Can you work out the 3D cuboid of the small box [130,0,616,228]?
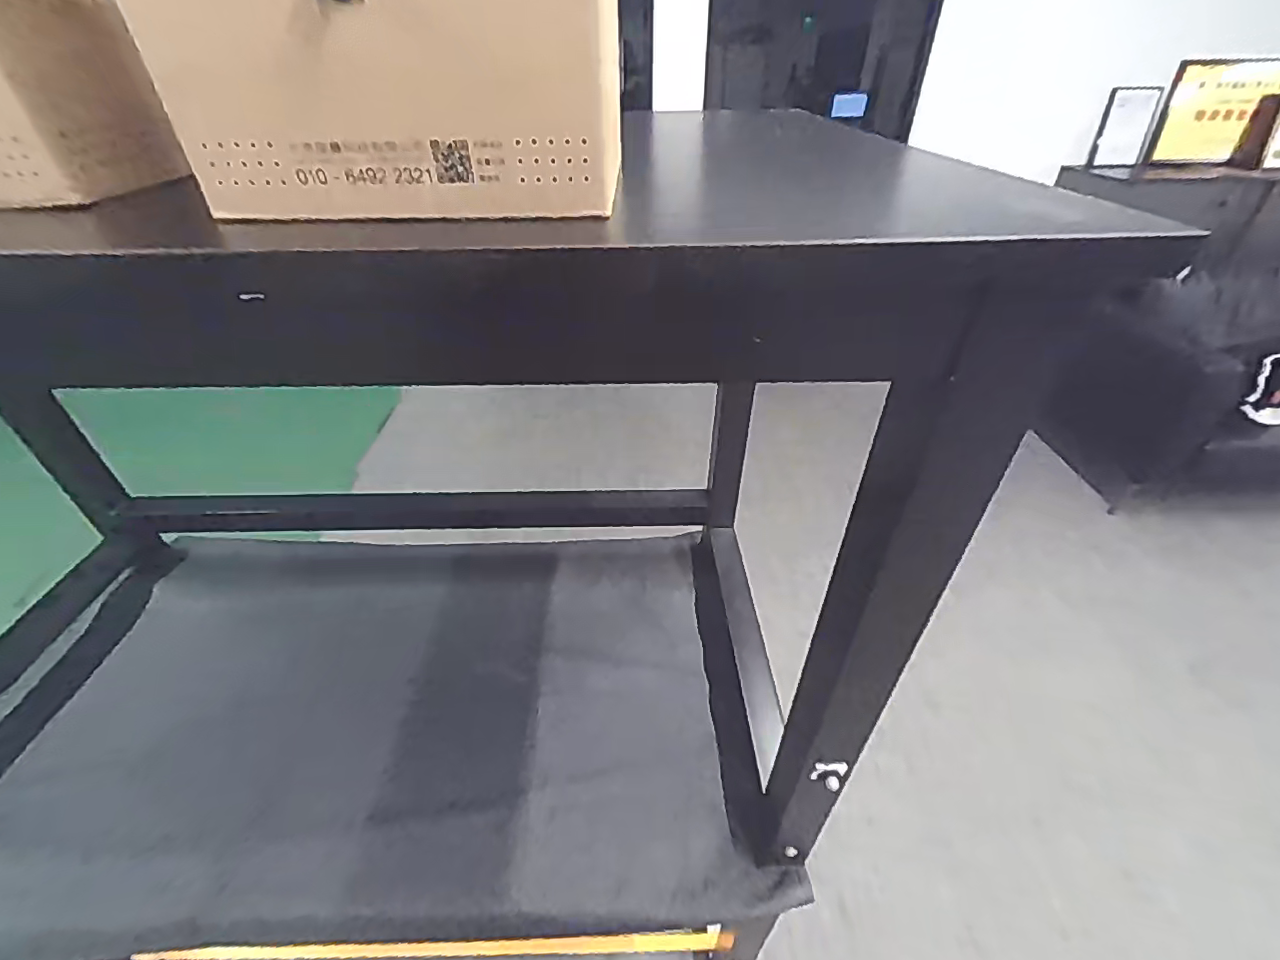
[{"bbox_3d":[-0.098,-0.221,0.247,0.168,0.176,0.179,0,37,0],"label":"small box"}]
